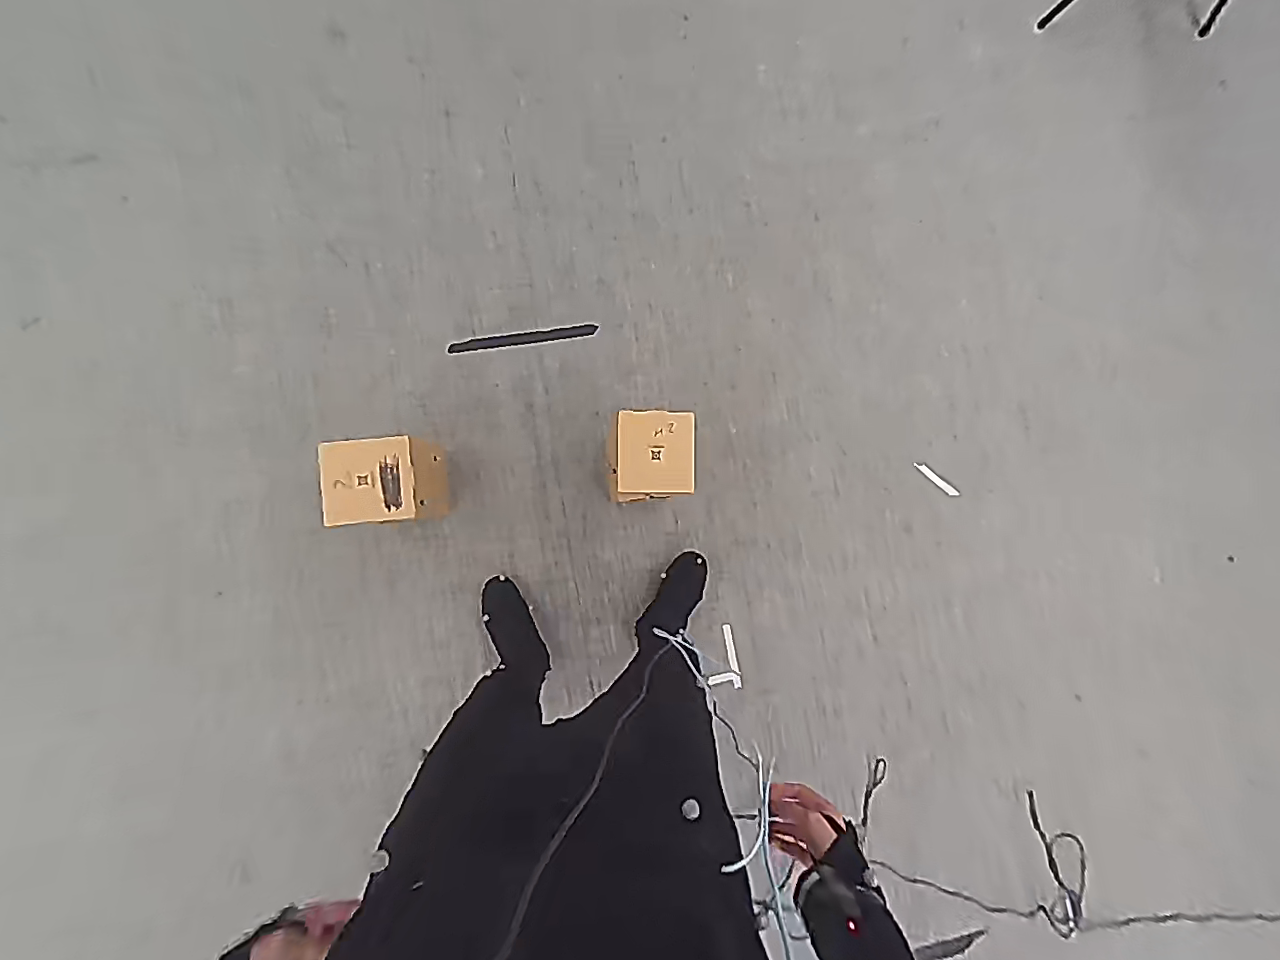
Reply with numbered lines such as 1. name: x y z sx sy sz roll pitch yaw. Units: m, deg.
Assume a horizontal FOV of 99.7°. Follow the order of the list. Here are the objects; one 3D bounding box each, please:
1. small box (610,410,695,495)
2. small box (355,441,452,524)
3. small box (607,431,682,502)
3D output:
1. small box: 0.023 -0.055 1.213 0.168 0.176 0.179 1 87 -9
2. small box: -0.559 0.006 1.300 0.168 0.176 0.179 -6 88 -7
3. small box: 0.008 -0.038 1.376 0.168 0.176 0.179 -5 88 -9
